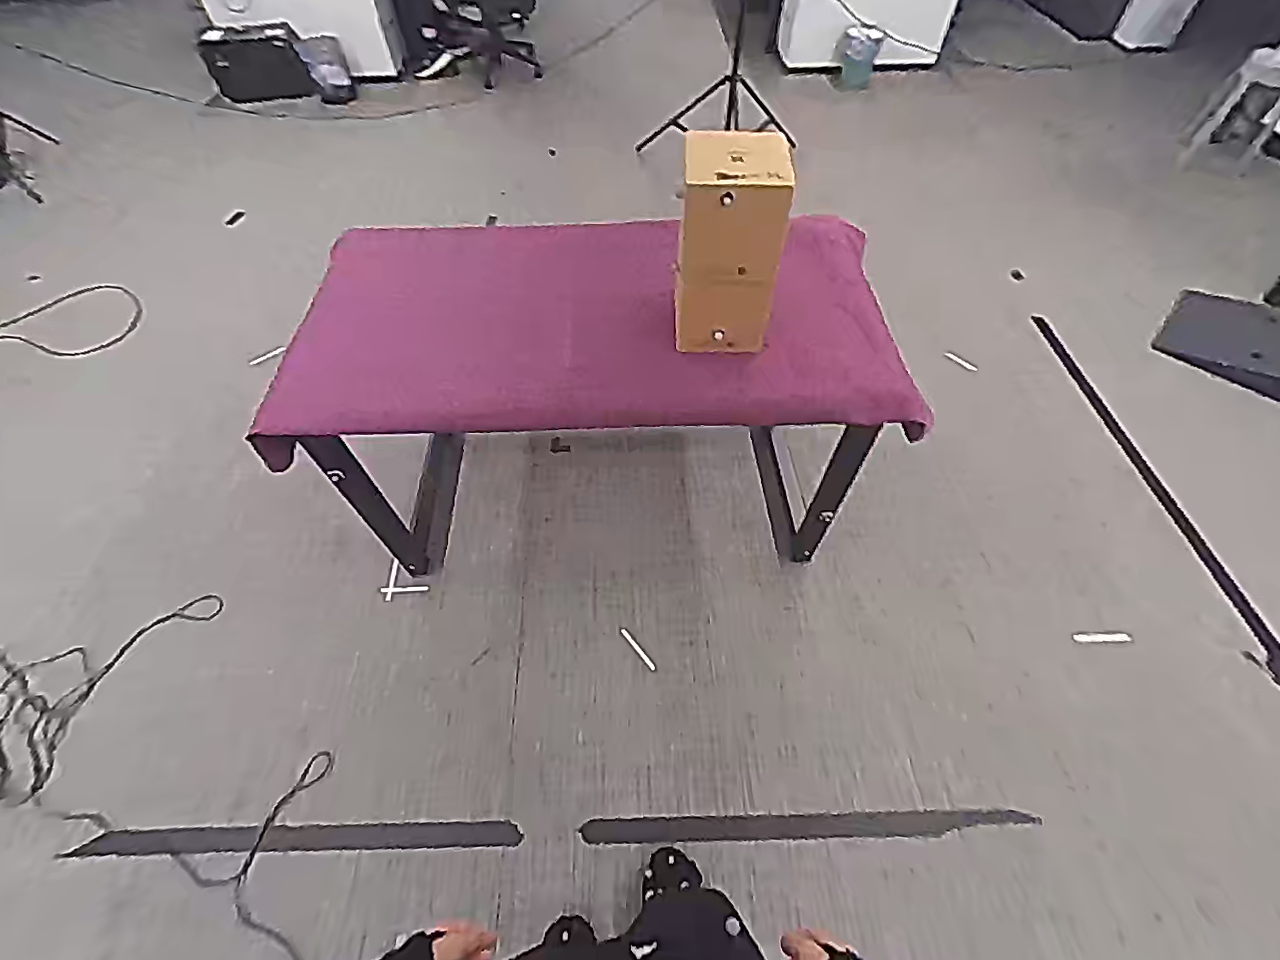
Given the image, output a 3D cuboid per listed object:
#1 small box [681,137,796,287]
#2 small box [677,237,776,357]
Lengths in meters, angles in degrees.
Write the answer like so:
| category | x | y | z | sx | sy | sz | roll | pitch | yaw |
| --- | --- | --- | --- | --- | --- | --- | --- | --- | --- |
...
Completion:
| category | x | y | z | sx | sy | sz | roll | pitch | yaw |
| --- | --- | --- | --- | --- | --- | --- | --- | --- | --- |
| small box | 0.156 | -0.453 | 0.917 | 0.168 | 0.176 | 0.179 | 2 | 54 | 3 |
| small box | 0.158 | -0.363 | 1.054 | 0.168 | 0.176 | 0.179 | 0 | 55 | 1 |
